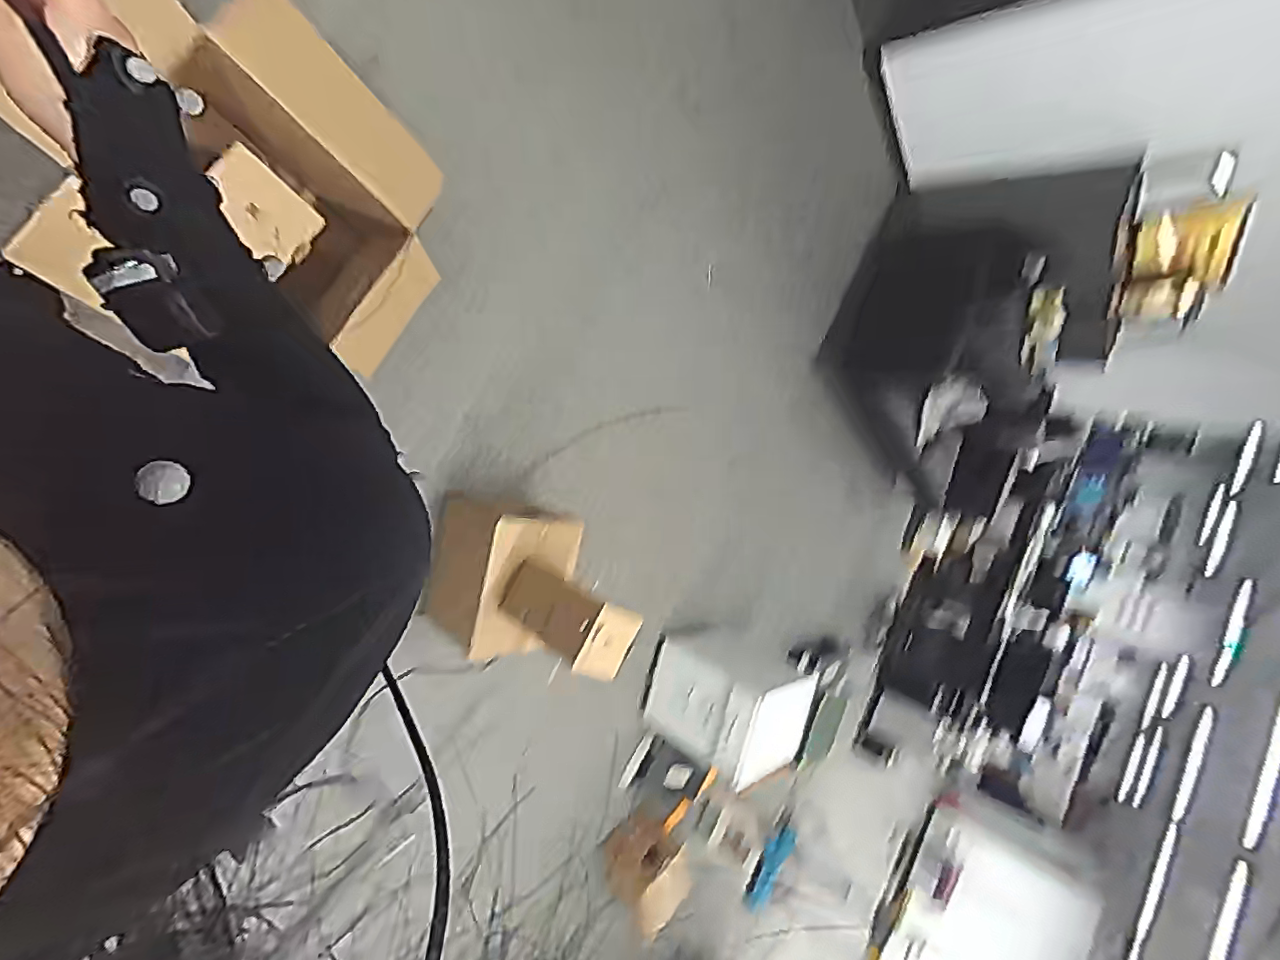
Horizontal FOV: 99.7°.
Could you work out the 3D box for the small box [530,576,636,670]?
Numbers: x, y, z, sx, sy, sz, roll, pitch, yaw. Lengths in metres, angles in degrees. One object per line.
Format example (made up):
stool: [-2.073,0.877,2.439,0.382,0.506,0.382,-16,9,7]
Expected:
small box: [-0.150,0.371,1.416,0.179,0.176,0.168,40,75,-48]
